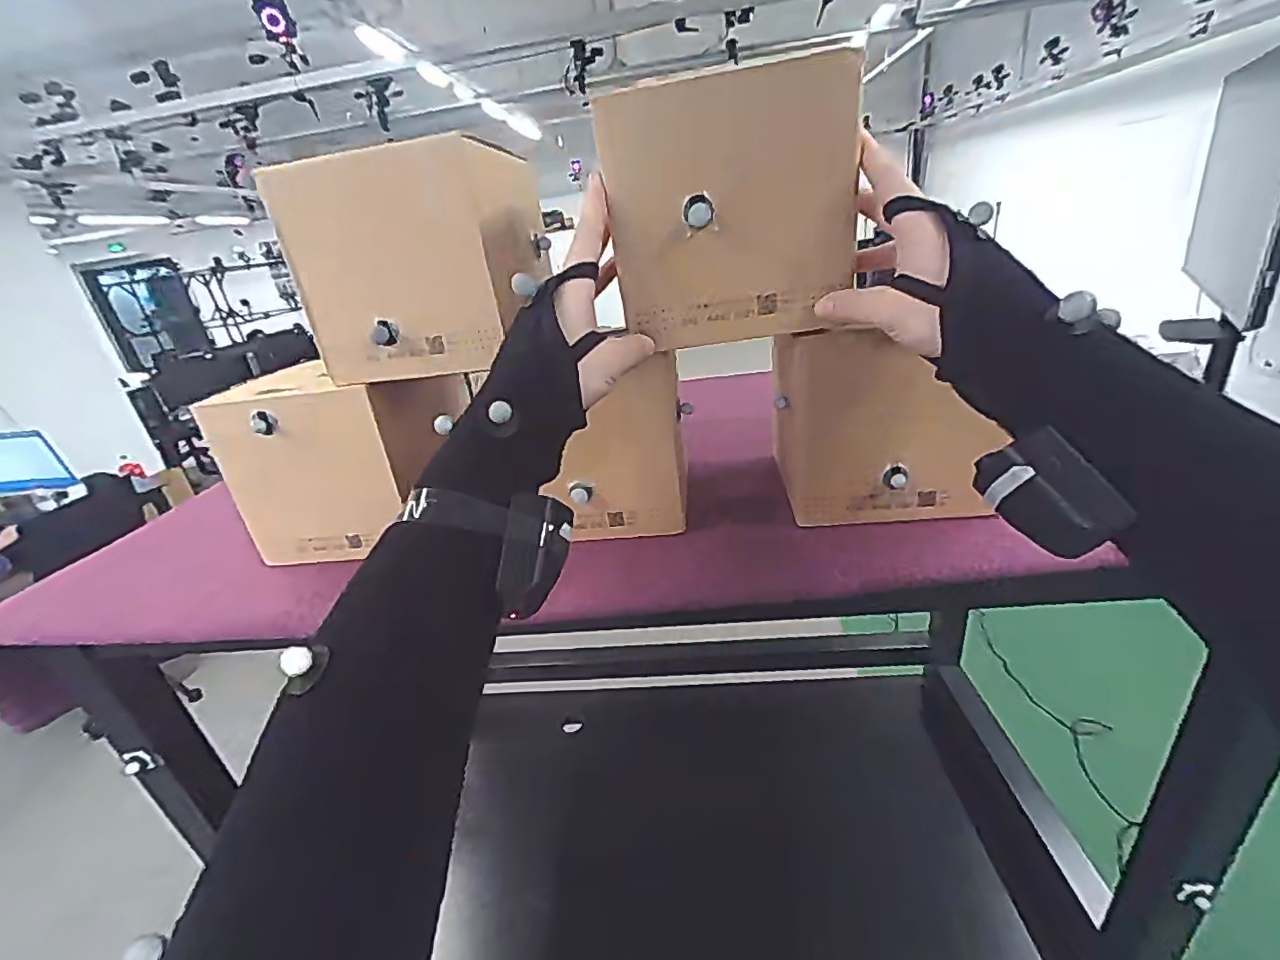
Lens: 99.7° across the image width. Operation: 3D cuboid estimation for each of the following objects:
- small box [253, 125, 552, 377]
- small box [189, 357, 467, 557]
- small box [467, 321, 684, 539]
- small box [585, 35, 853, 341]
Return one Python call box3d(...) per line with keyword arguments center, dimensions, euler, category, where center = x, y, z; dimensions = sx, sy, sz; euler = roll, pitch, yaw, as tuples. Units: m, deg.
box3d(center=(-0.187, -0.197, 0.490), dimensions=(0.168, 0.176, 0.179), euler=(-5, 24, 9), category="small box")
box3d(center=(-0.297, -0.036, 0.565), dimensions=(0.168, 0.176, 0.179), euler=(-5, 23, 7), category="small box")
box3d(center=(-0.047, -0.057, 0.538), dimensions=(0.168, 0.176, 0.179), euler=(-5, 24, 8), category="small box")
box3d(center=(0.062, -0.217, 0.433), dimensions=(0.168, 0.176, 0.179), euler=(-7, 29, 6), category="small box")
